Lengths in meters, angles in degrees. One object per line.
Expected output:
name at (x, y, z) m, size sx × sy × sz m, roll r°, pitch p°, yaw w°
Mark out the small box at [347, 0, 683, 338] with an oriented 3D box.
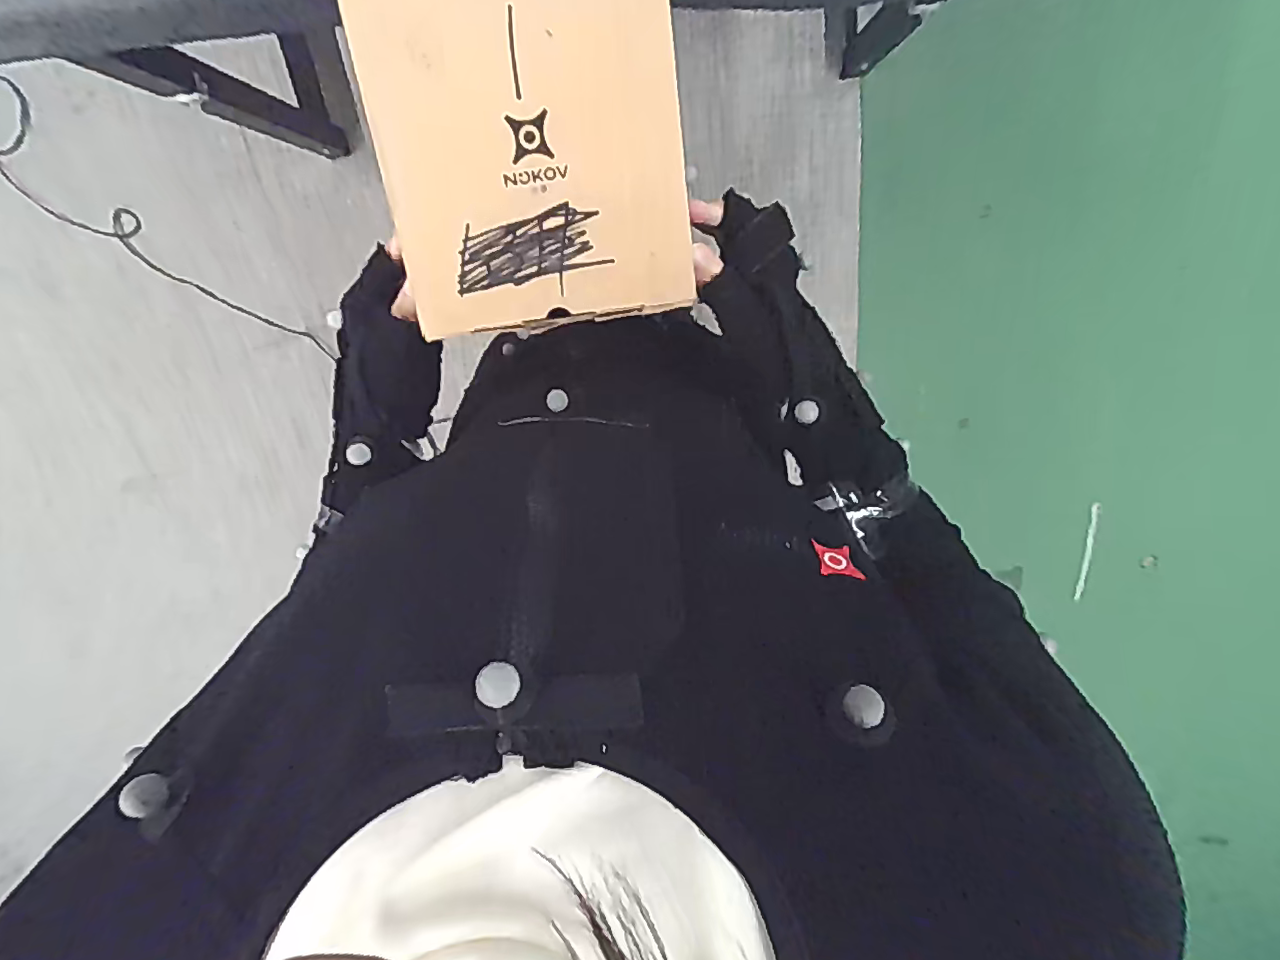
small box at (-0.061, -0.202, 0.376) m, size 0.168 × 0.176 × 0.179 m, roll -6°, pitch 108°, yaw 2°
